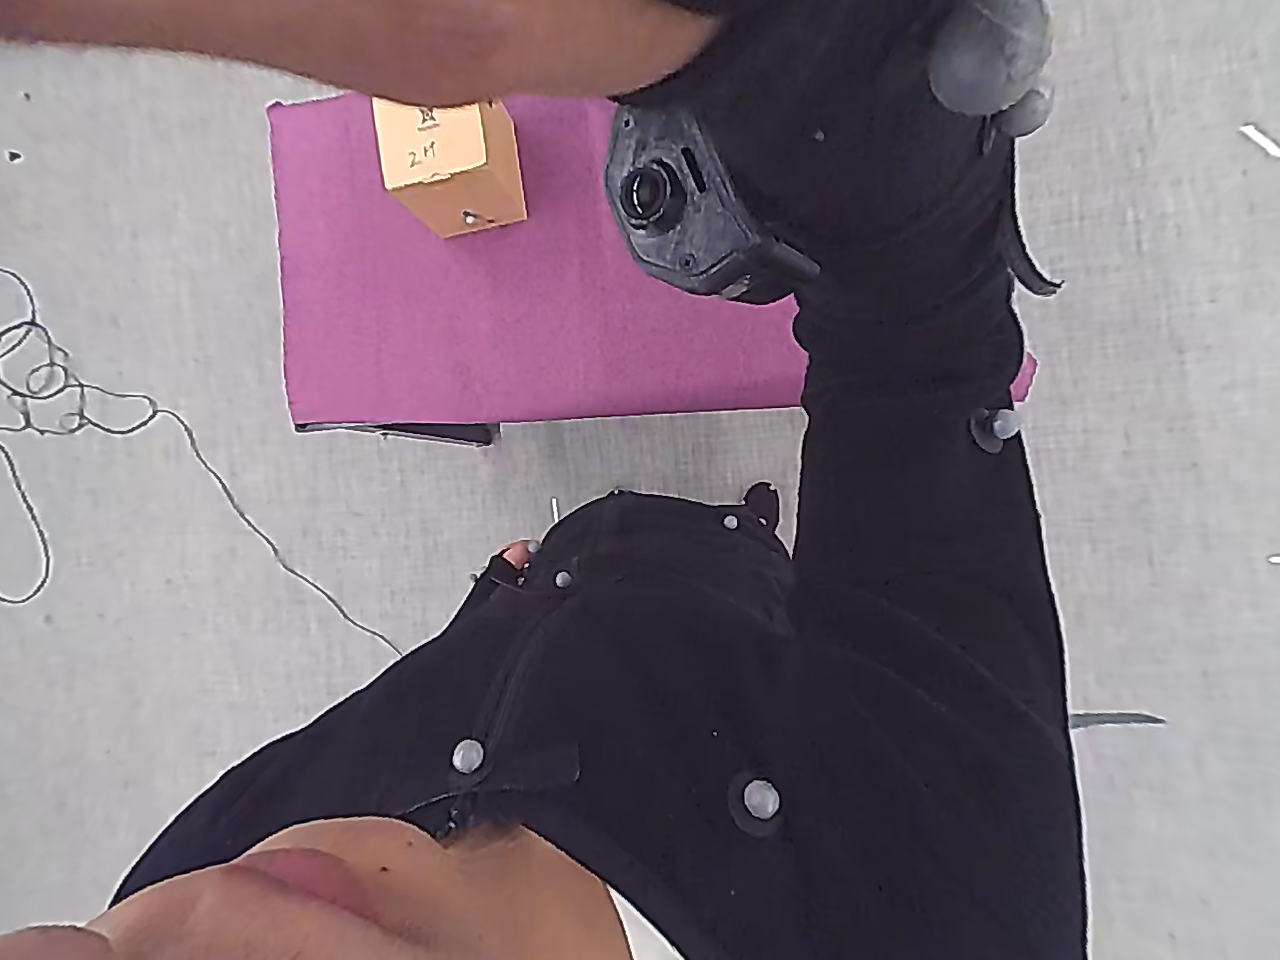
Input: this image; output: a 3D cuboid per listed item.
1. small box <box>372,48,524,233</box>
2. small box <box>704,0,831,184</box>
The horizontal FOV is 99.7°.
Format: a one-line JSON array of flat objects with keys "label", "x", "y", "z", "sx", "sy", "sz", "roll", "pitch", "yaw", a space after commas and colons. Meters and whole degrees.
[{"label": "small box", "x": -0.300, "y": -0.534, "z": 0.874, "sx": 0.168, "sy": 0.176, "sz": 0.179, "roll": -8, "pitch": 89, "yaw": 8}, {"label": "small box", "x": 0.181, "y": -0.574, "z": 0.805, "sx": 0.168, "sy": 0.176, "sz": 0.179, "roll": 2, "pitch": 91, "yaw": 9}]
